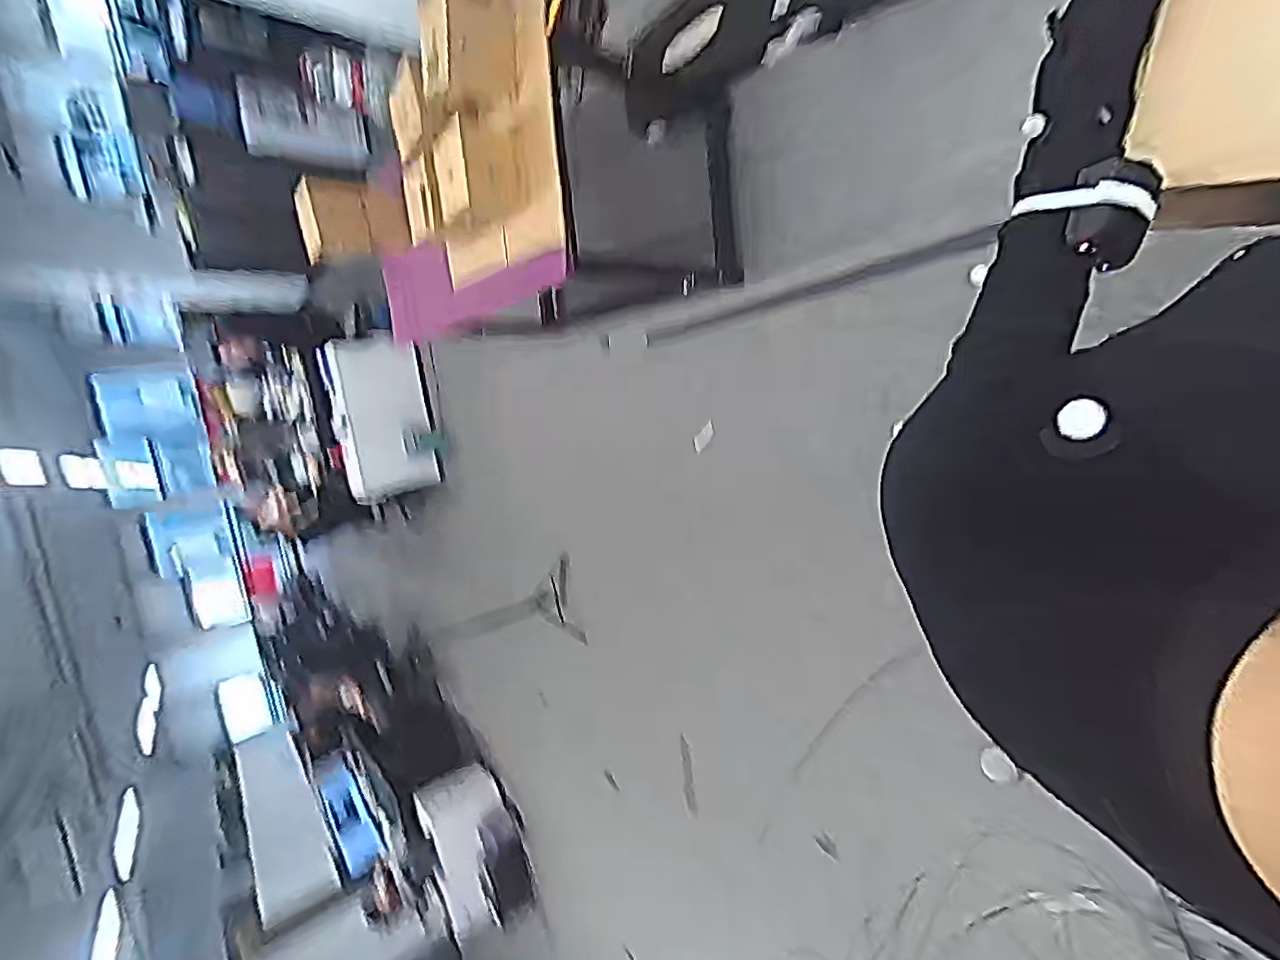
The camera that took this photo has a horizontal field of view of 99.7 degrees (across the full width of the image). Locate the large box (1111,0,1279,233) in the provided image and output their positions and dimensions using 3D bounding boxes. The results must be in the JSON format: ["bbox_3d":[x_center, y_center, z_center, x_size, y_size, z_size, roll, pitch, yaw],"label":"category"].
[{"bbox_3d":[0.632,-0.368,0.375,0.408,0.320,0.320,18,115,40],"label":"large box"}]
